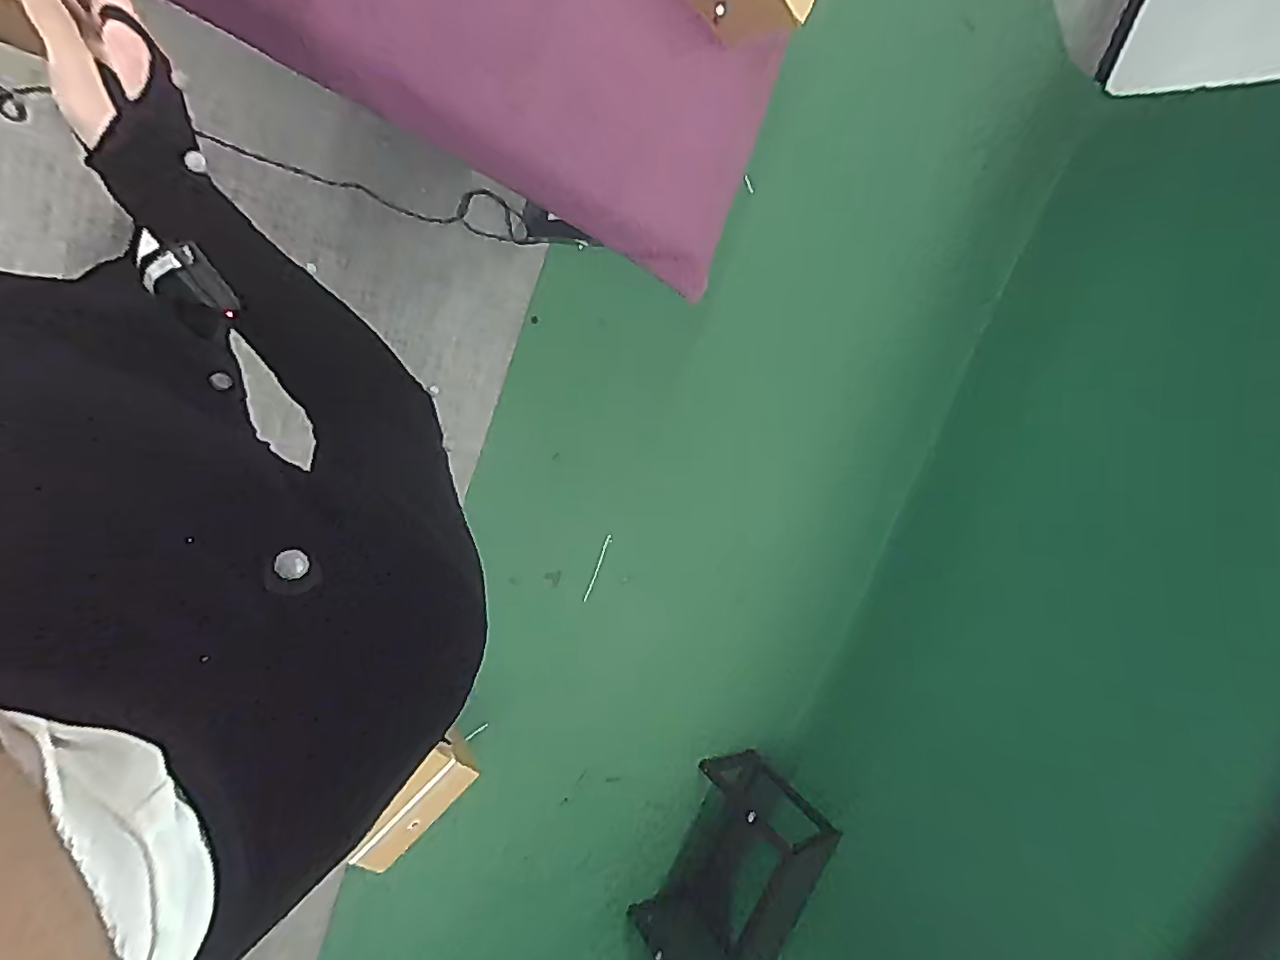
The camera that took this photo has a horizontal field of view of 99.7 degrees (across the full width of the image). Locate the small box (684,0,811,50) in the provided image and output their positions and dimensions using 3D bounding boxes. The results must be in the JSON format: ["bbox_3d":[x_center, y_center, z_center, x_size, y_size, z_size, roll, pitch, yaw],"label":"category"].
[{"bbox_3d":[0.181,-0.842,0.860,0.168,0.176,0.179,19,99,-43],"label":"small box"}]

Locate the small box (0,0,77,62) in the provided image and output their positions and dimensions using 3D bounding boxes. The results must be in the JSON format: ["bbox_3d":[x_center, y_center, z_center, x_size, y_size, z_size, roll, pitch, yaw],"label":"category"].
[{"bbox_3d":[-0.504,-0.430,0.363,0.168,0.176,0.179,0,106,-43],"label":"small box"}]
